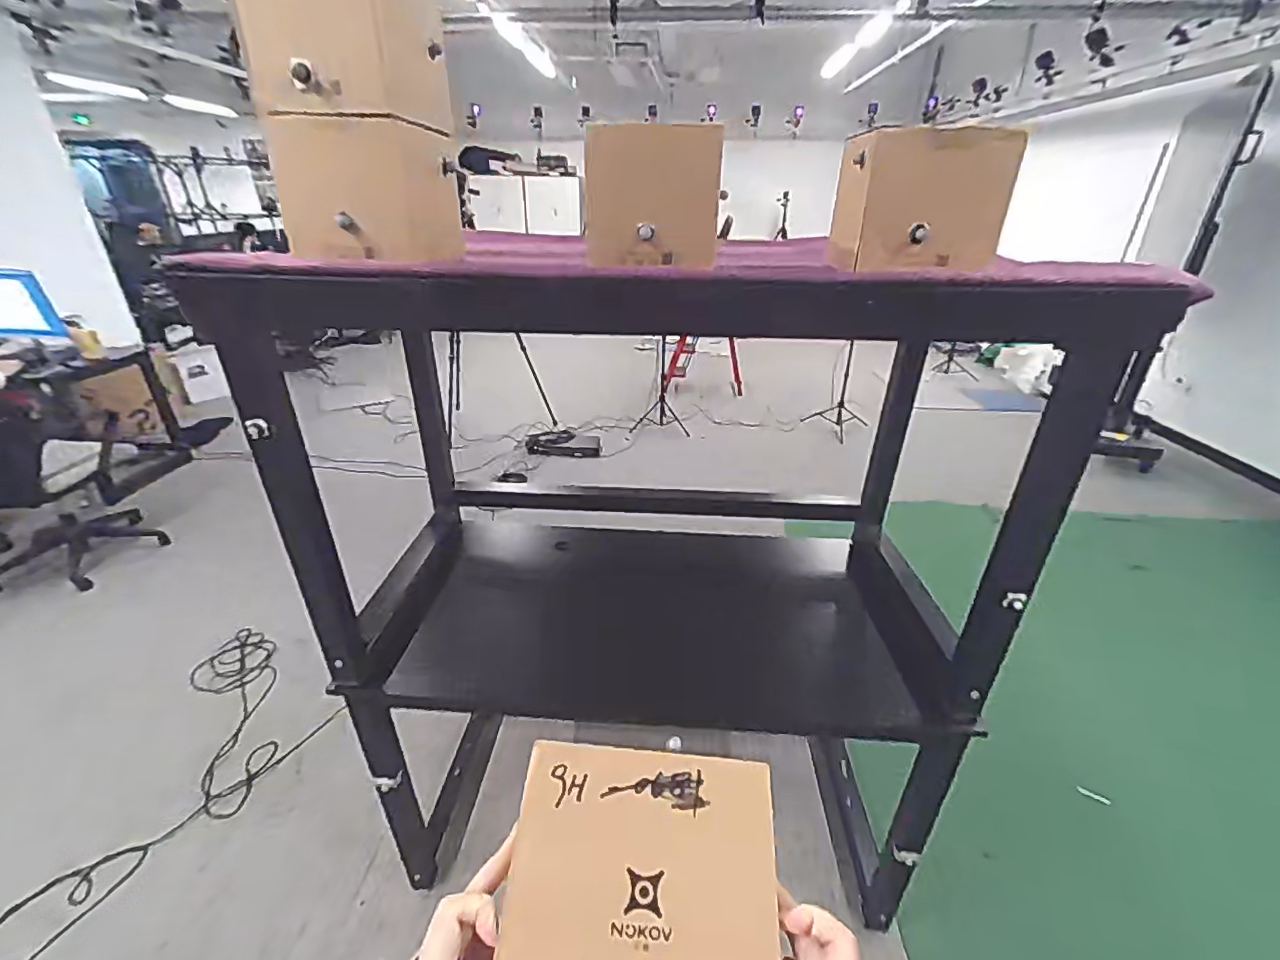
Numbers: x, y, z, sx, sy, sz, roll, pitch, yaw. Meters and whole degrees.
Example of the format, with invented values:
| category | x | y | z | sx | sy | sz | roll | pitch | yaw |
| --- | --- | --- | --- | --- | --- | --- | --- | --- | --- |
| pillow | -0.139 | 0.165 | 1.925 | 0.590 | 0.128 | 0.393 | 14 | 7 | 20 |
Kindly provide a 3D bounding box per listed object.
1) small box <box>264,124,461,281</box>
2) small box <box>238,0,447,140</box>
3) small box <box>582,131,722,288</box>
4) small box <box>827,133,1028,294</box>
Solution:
| category | x | y | z | sx | sy | sz | roll | pitch | yaw |
| --- | --- | --- | --- | --- | --- | --- | --- | --- | --- |
| small box | -0.355 | -0.371 | 0.734 | 0.168 | 0.176 | 0.179 | 2 | 27 | 3 |
| small box | -0.351 | -0.515 | 0.659 | 0.168 | 0.176 | 0.179 | 3 | 28 | 5 |
| small box | 0.019 | -0.363 | 0.730 | 0.168 | 0.176 | 0.179 | 2 | 29 | 4 |
| small box | 0.357 | -0.352 | 0.715 | 0.168 | 0.176 | 0.179 | 3 | 29 | 5 |
